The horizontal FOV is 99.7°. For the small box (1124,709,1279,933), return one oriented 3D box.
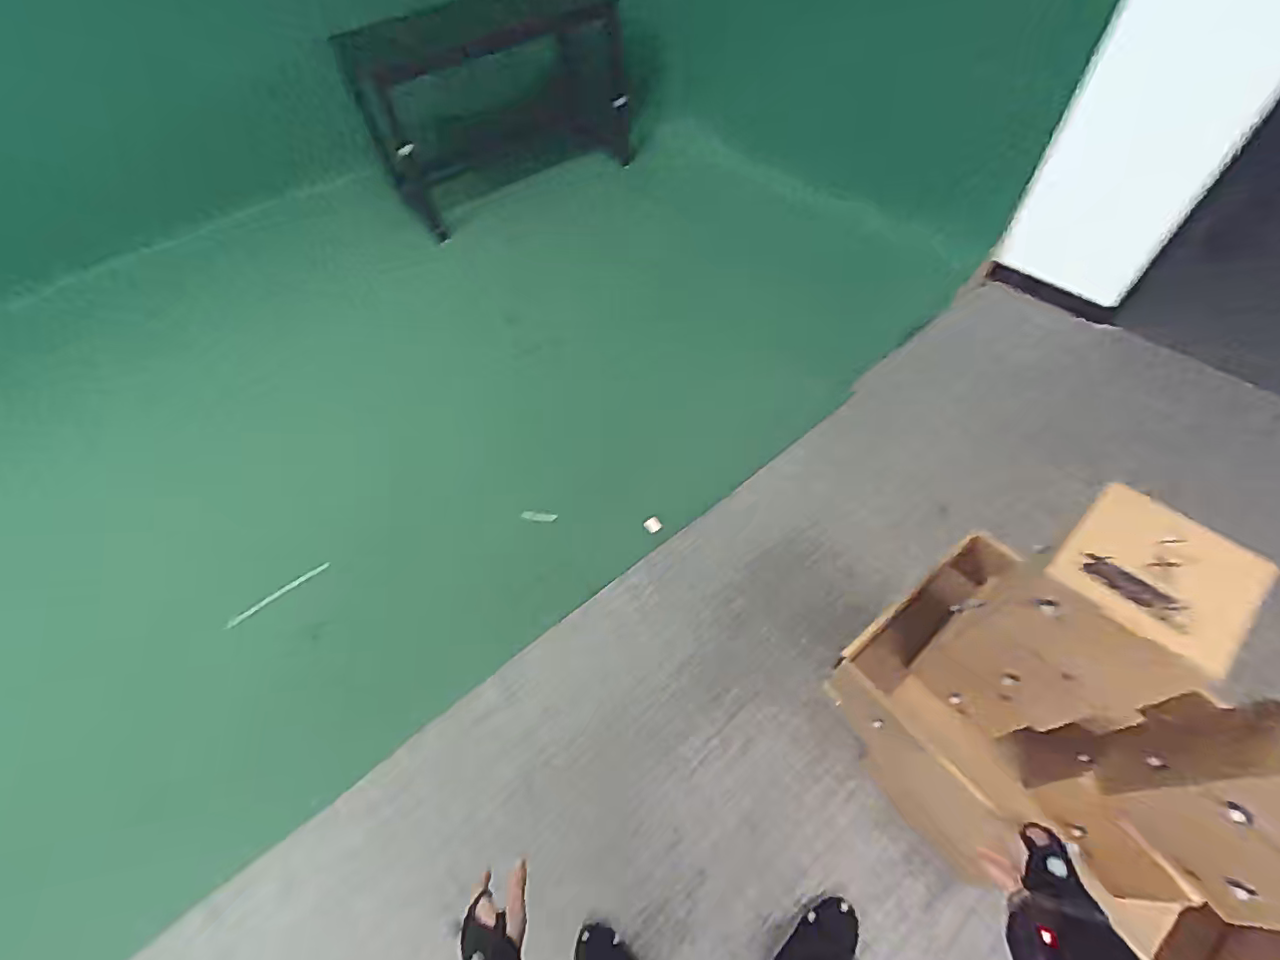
[{"bbox_3d":[0.747,0.409,0.648,0.179,0.176,0.168,-30,59,-14],"label":"small box"}]

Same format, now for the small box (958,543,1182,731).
[{"bbox_3d":[0.598,0.232,0.781,0.179,0.176,0.168,-38,61,-18],"label":"small box"}]

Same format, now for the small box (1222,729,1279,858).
[{"bbox_3d":[0.732,0.323,0.510,0.179,0.176,0.168,-27,58,-12],"label":"small box"}]

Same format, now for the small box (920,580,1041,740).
[{"bbox_3d":[0.618,0.310,0.925,0.179,0.176,0.168,-38,60,-18],"label":"small box"}]
